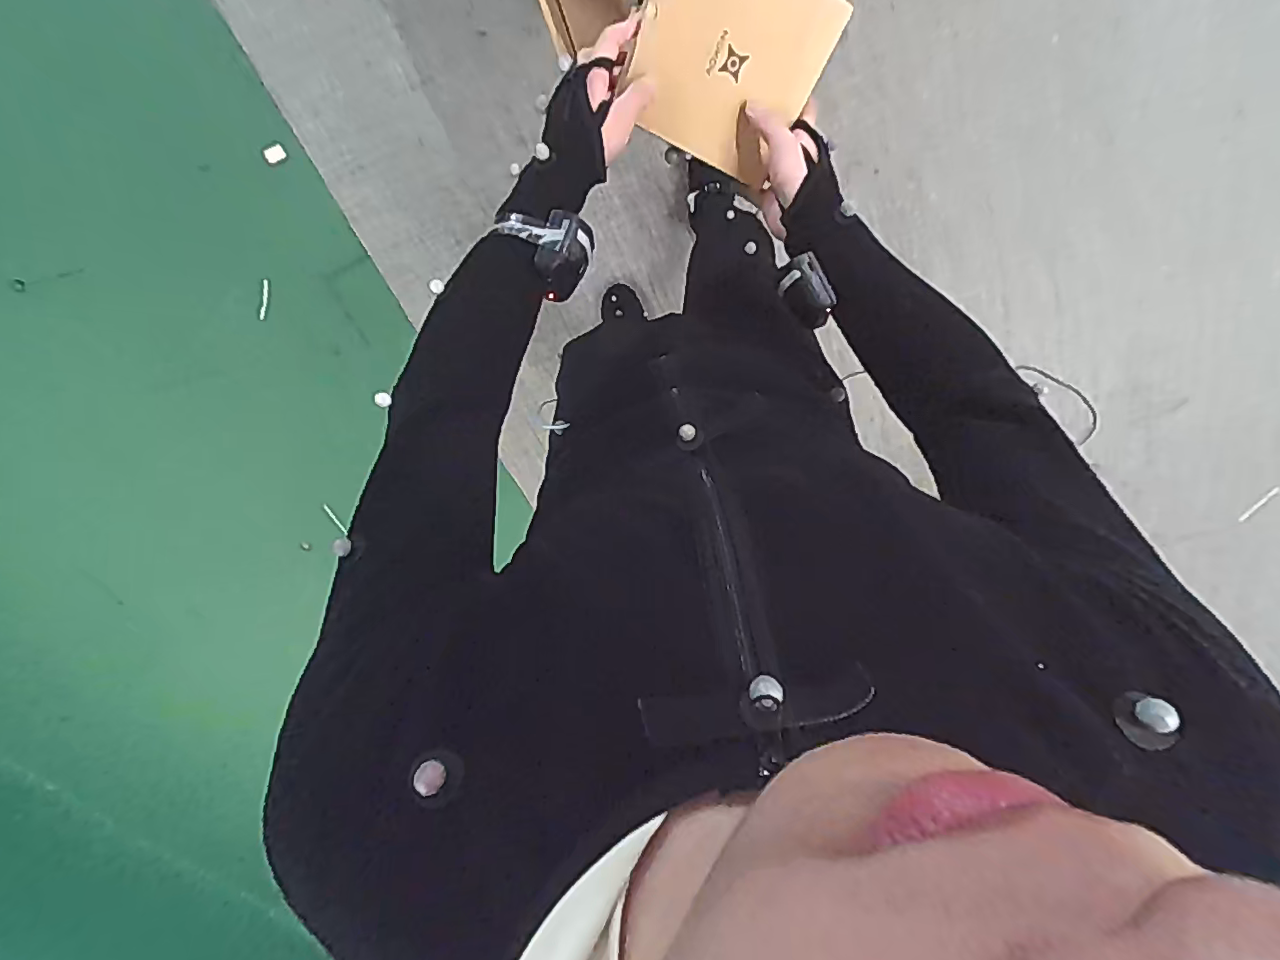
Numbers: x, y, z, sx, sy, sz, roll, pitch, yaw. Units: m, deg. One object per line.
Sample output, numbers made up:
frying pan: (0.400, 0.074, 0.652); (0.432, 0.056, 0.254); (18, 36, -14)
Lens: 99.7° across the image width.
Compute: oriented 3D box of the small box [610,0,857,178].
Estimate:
small box: (0.079, -0.448, 0.557); (0.179, 0.176, 0.168); (17, 126, -18)
